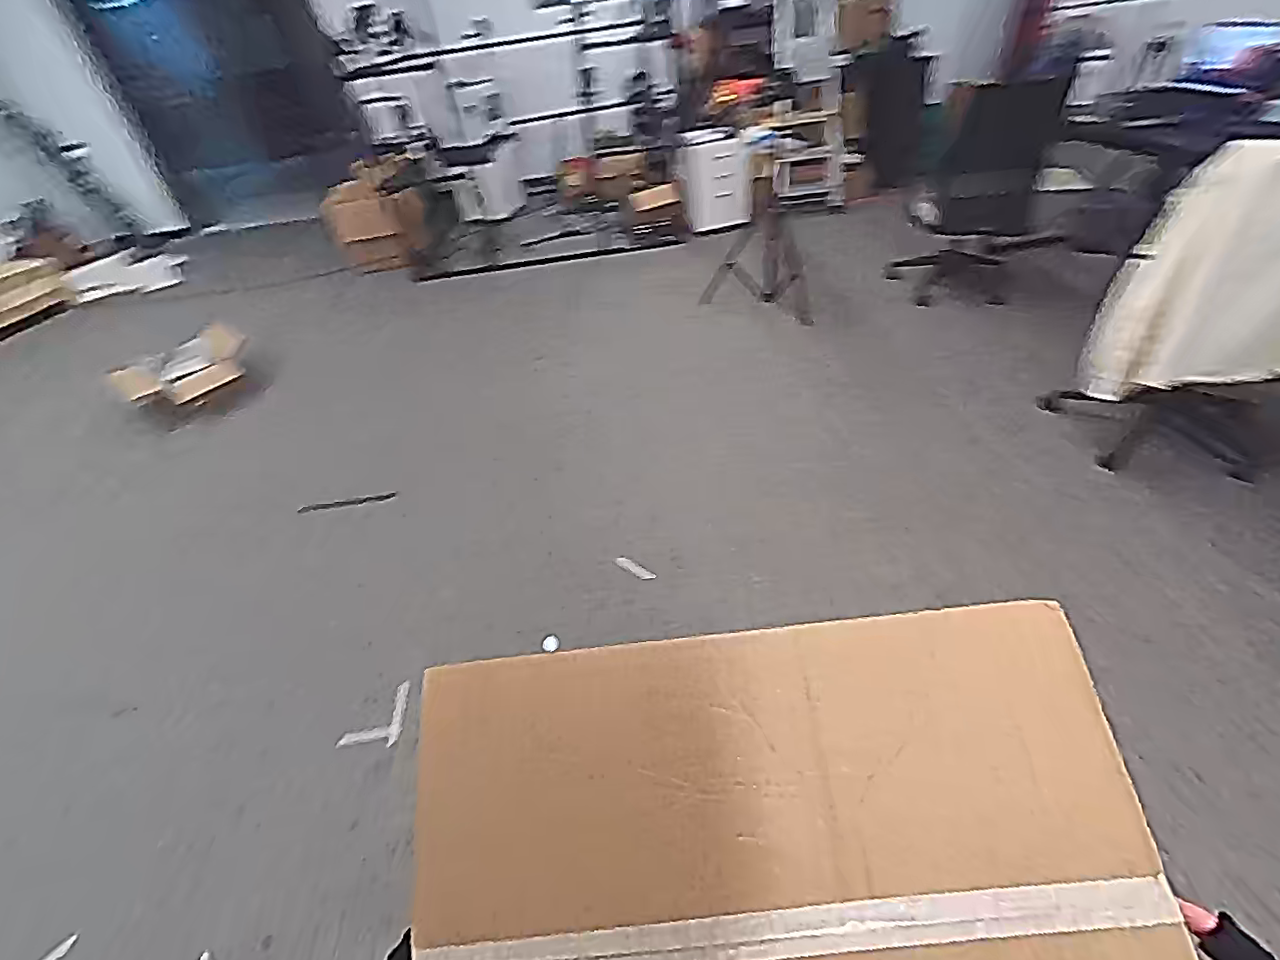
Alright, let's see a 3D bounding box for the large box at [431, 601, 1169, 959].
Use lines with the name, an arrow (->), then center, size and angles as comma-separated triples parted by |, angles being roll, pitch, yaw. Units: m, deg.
large box -> 0.086, 0.303, 0.439 | 0.408, 0.320, 0.320 | -8, 69, 1
